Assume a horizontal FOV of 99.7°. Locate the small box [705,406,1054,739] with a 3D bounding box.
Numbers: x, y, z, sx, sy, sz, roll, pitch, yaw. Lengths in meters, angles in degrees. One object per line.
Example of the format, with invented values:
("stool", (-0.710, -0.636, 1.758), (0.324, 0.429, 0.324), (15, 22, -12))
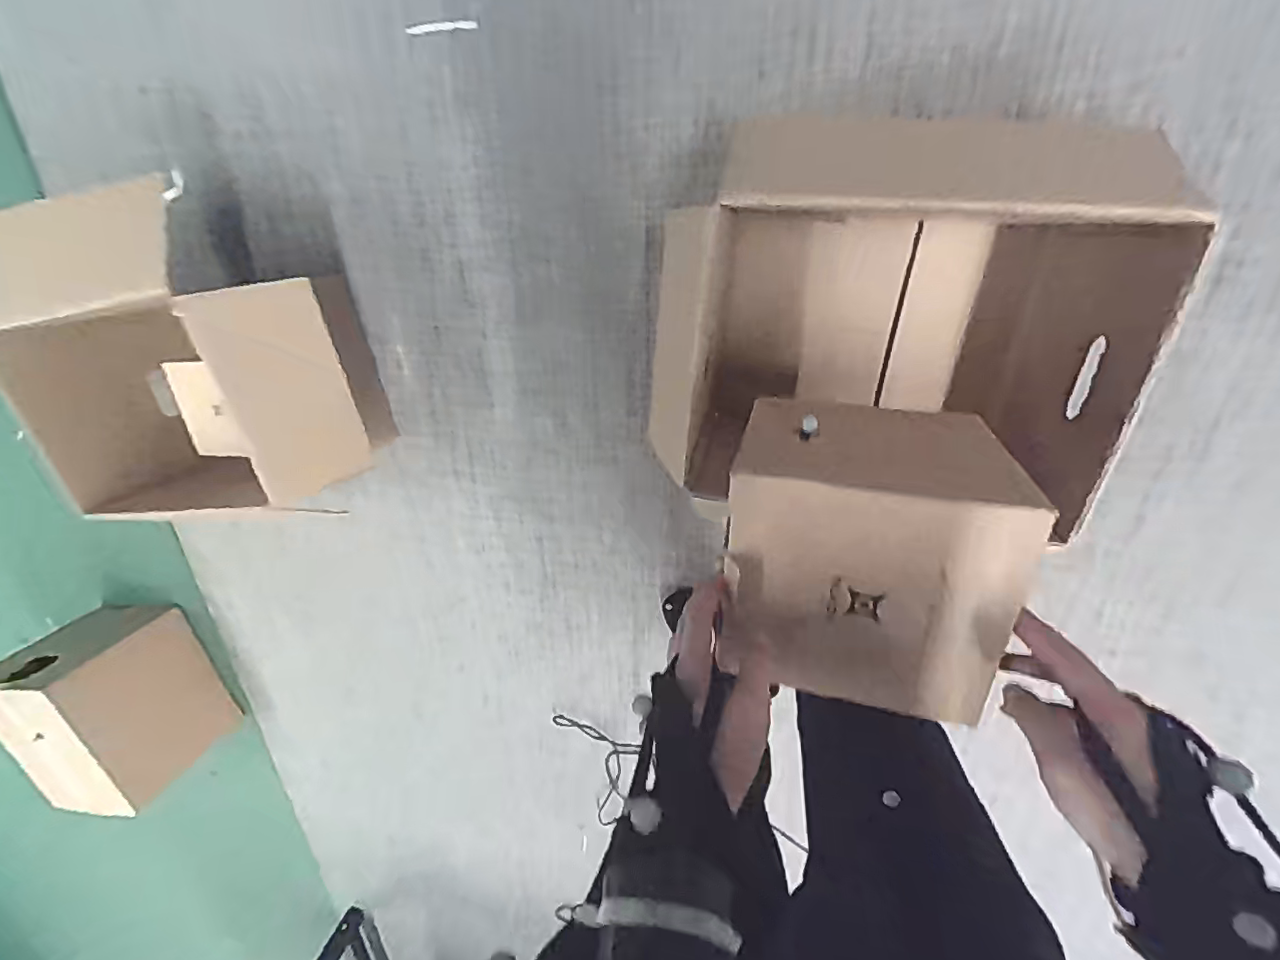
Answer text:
("small box", (0.154, 0.049, 0.403), (0.179, 0.176, 0.168), (7, 117, 15))
